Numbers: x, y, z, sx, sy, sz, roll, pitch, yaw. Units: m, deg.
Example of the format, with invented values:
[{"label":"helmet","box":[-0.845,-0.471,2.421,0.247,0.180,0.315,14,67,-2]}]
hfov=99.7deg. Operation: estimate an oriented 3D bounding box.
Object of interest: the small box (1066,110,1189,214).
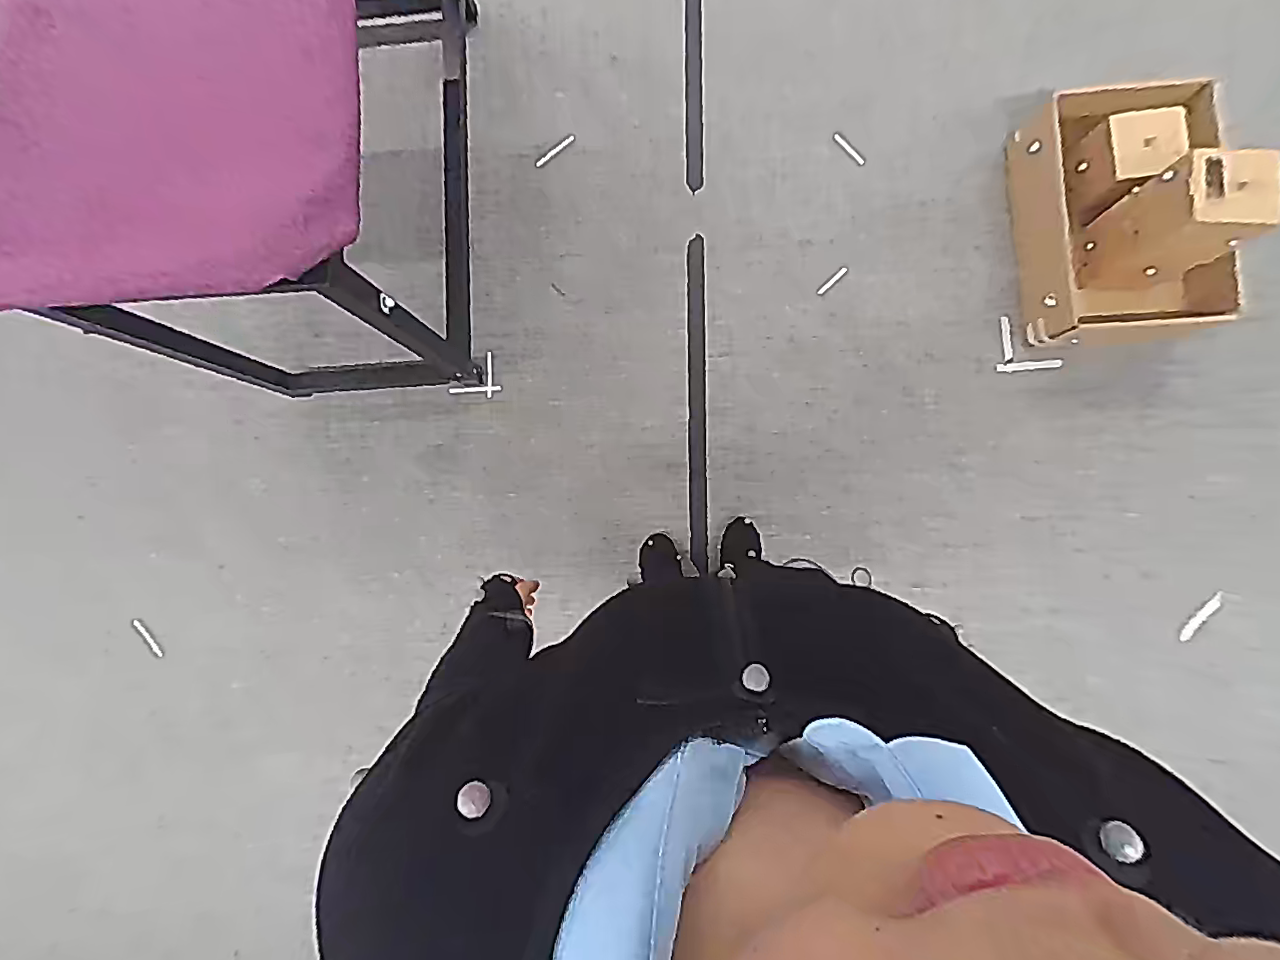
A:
[{"label":"small box","box":[1.237,-0.807,1.390,0.179,0.176,0.168,-4,87,3]}]

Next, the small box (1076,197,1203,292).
[{"label":"small box","box":[1.265,-0.592,1.378,0.179,0.176,0.168,2,84,4]}]
